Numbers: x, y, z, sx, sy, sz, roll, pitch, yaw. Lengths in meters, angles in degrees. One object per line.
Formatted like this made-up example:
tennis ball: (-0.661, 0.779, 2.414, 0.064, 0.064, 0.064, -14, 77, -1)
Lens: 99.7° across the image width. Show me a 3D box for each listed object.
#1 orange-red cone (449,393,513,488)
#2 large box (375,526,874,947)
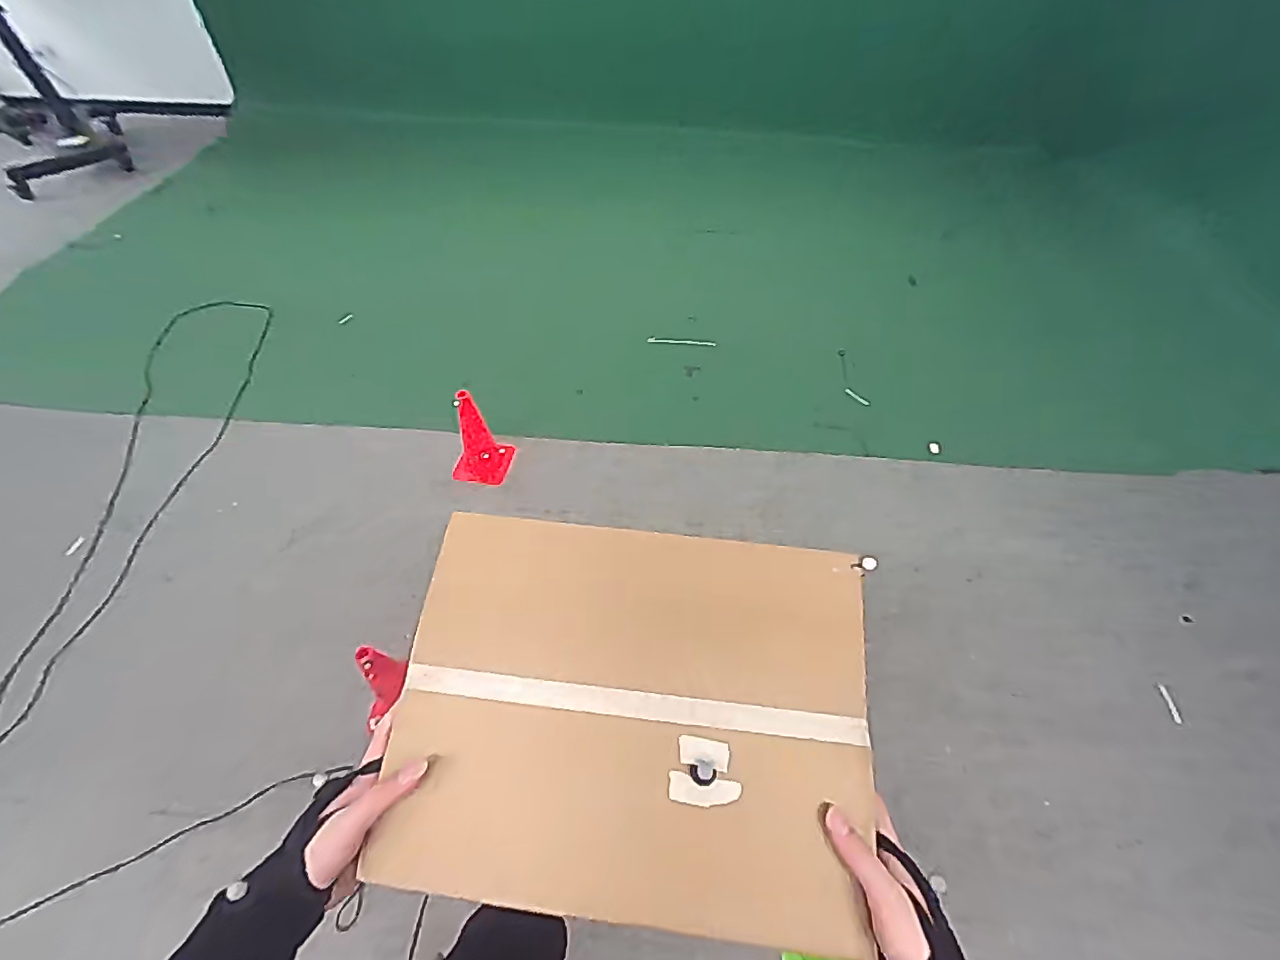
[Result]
orange-red cone: (-0.603, -0.163, 1.920, 0.199, 0.360, 0.198, 9, 51, 7)
large box: (-0.002, 0.262, 0.617, 0.408, 0.320, 0.320, 5, 67, 4)
